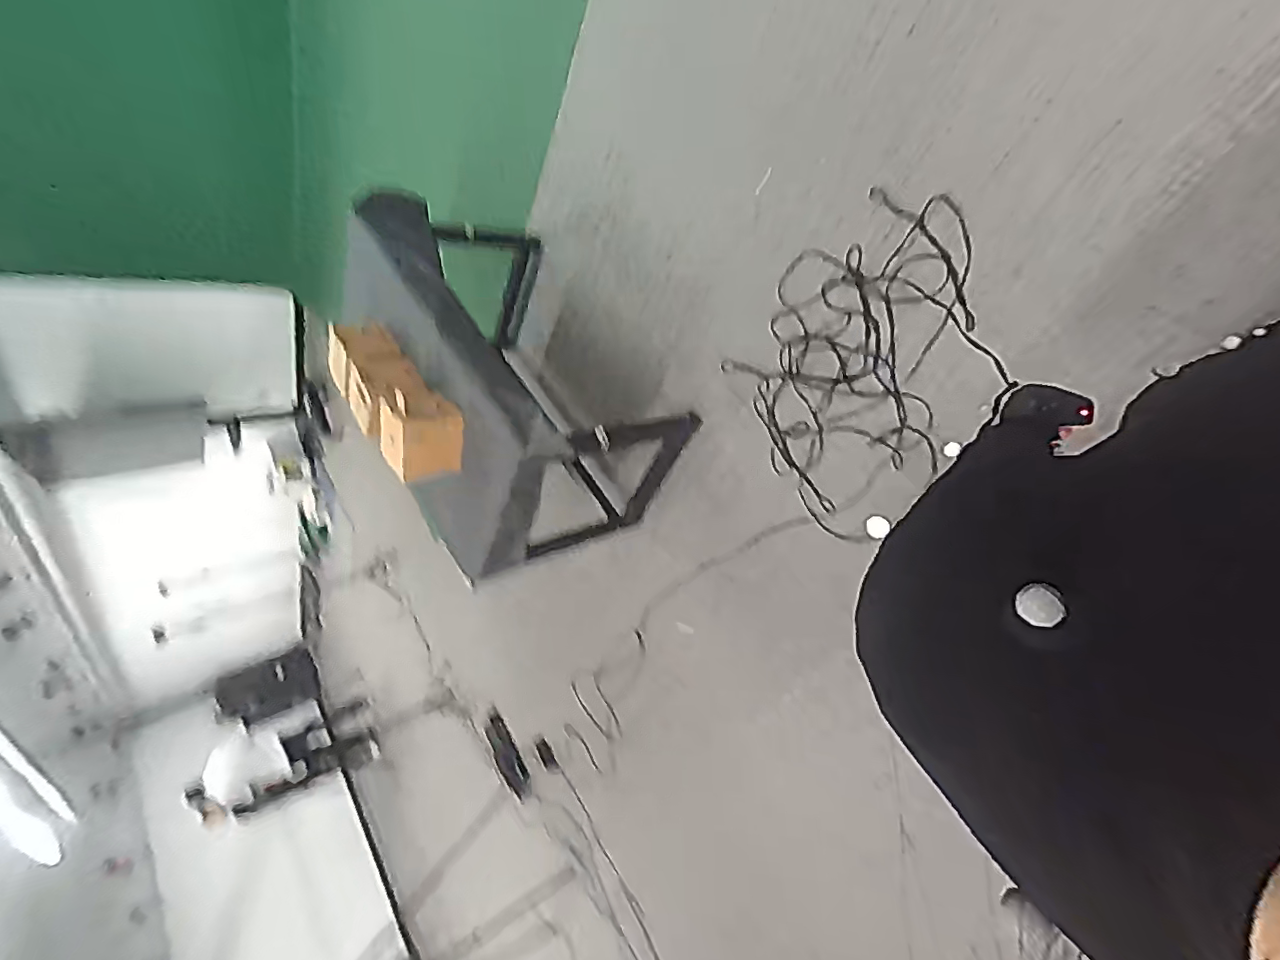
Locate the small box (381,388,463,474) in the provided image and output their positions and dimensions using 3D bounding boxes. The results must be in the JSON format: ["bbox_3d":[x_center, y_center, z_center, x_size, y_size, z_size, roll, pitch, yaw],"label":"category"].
[{"bbox_3d":[-0.611,-0.143,1.518,0.168,0.176,0.179,39,127,34],"label":"small box"}]
